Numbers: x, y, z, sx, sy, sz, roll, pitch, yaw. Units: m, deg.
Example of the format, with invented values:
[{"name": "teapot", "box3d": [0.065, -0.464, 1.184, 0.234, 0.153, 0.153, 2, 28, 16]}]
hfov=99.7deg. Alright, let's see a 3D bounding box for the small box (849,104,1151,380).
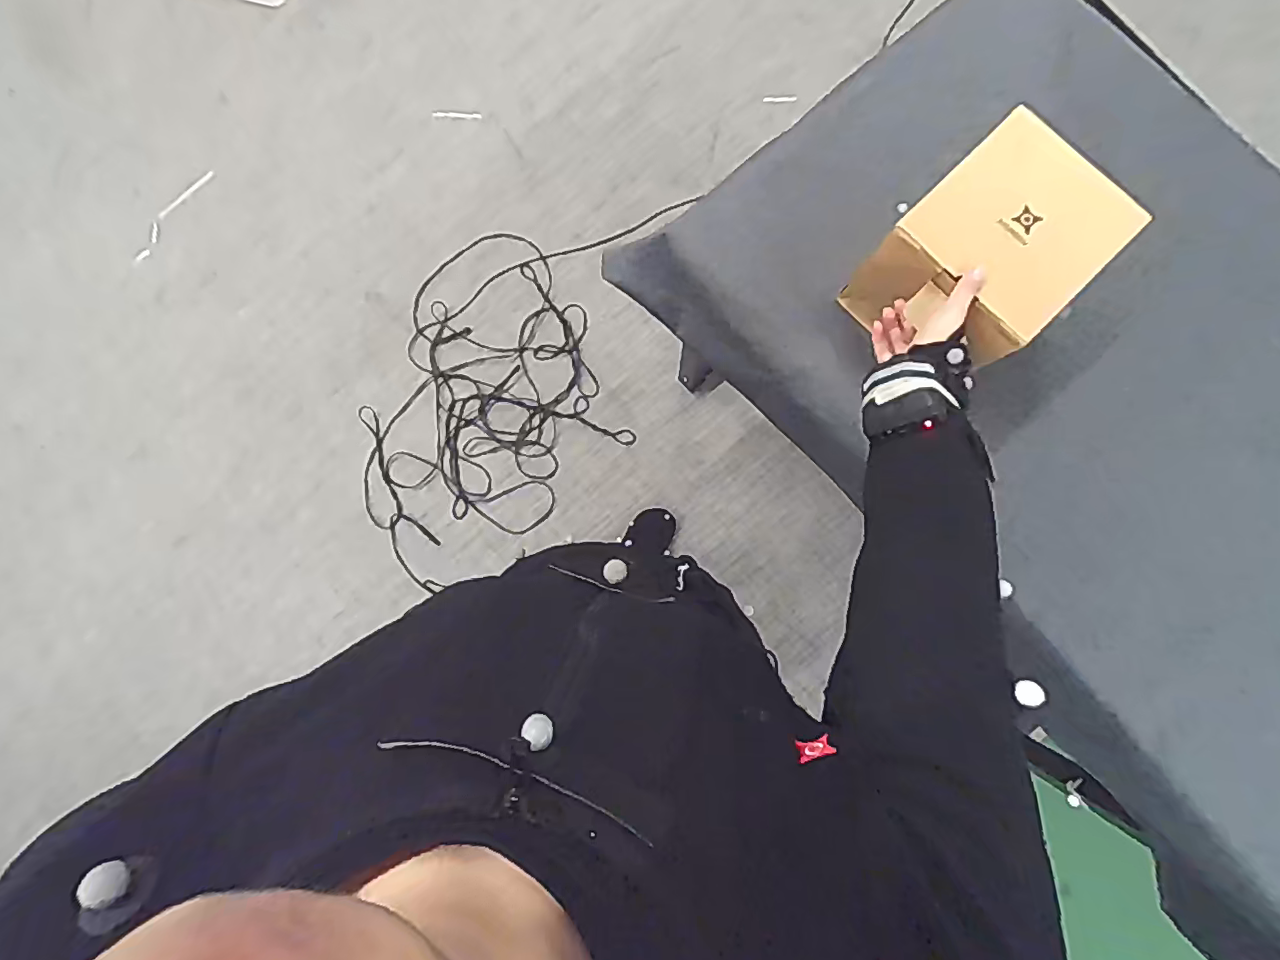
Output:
[{"name": "small box", "box3d": [0.364, -0.238, 0.586, 0.179, 0.176, 0.168, -45, 86, -2]}]
